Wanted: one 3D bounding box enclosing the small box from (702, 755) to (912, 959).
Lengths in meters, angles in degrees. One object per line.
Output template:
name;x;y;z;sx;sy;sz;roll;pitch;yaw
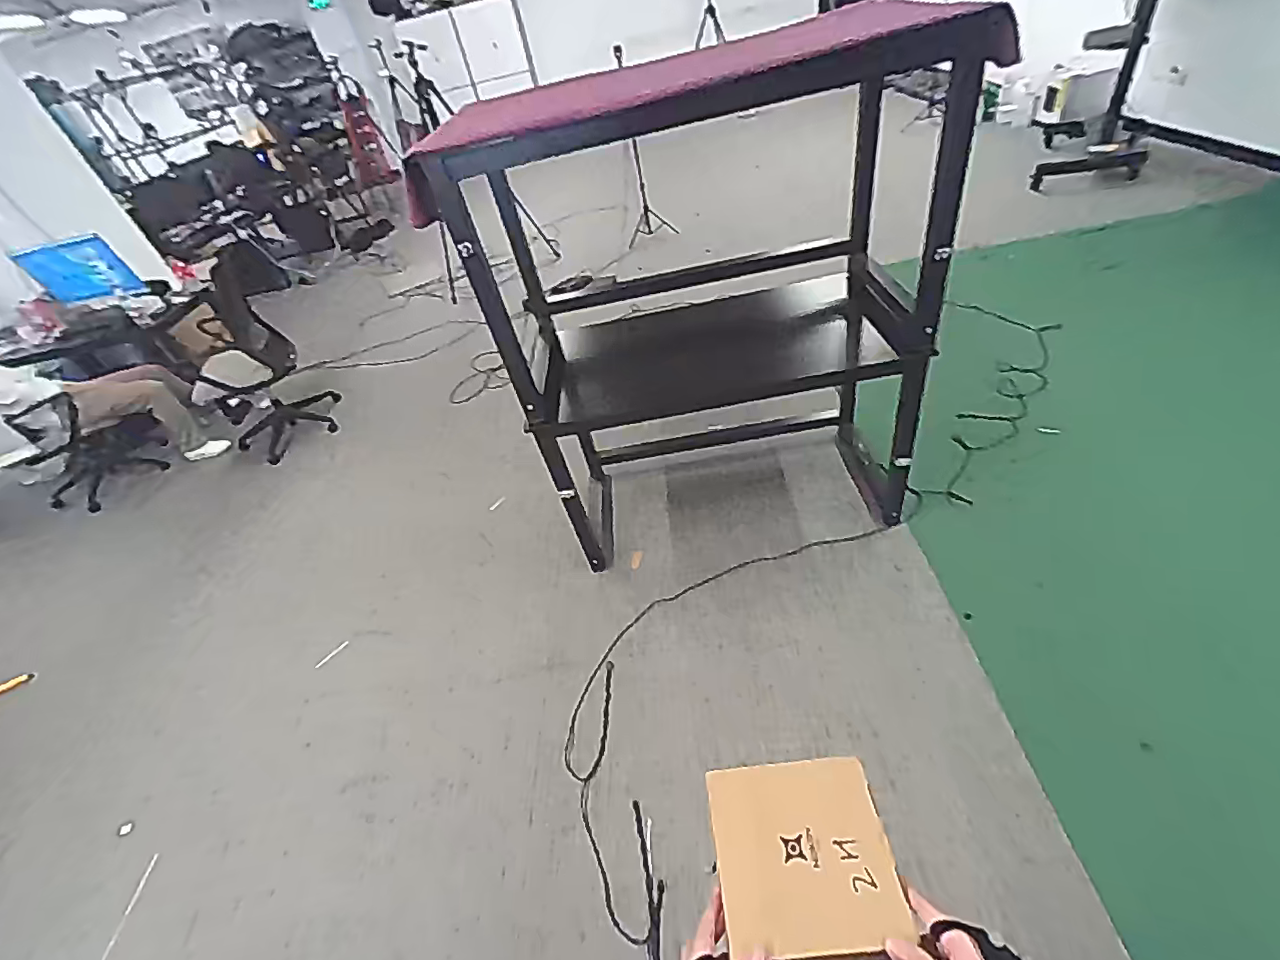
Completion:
small box;0.171;0.432;0.607;0.179;0.176;0.168;-7;45;2
